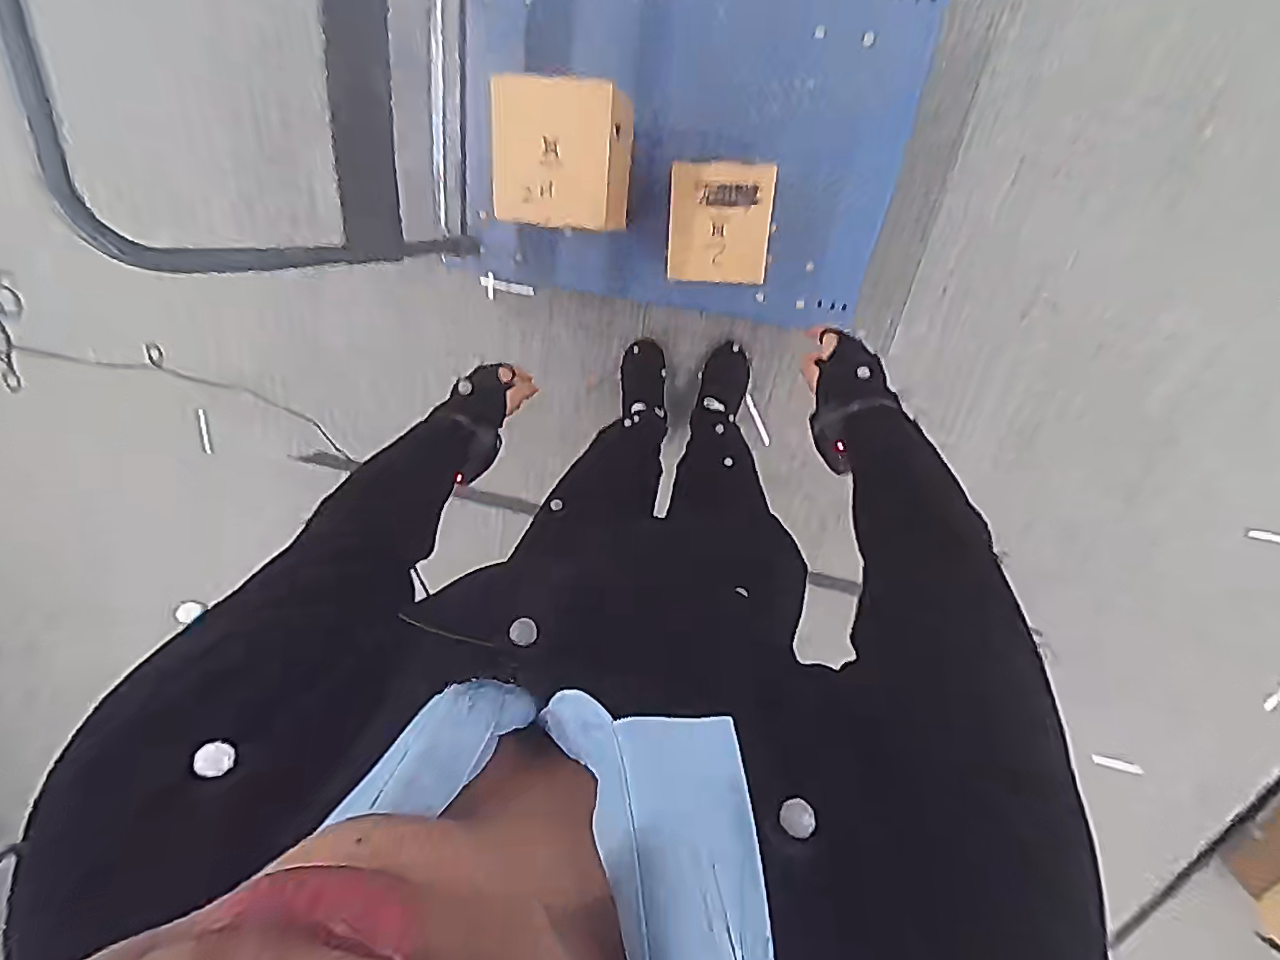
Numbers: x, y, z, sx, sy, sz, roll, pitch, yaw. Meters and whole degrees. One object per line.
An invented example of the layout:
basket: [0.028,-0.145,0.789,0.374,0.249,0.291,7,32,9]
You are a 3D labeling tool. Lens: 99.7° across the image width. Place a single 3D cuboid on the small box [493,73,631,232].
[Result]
small box: [-0.110,-0.474,0.807,0.168,0.176,0.179,8,116,6]
